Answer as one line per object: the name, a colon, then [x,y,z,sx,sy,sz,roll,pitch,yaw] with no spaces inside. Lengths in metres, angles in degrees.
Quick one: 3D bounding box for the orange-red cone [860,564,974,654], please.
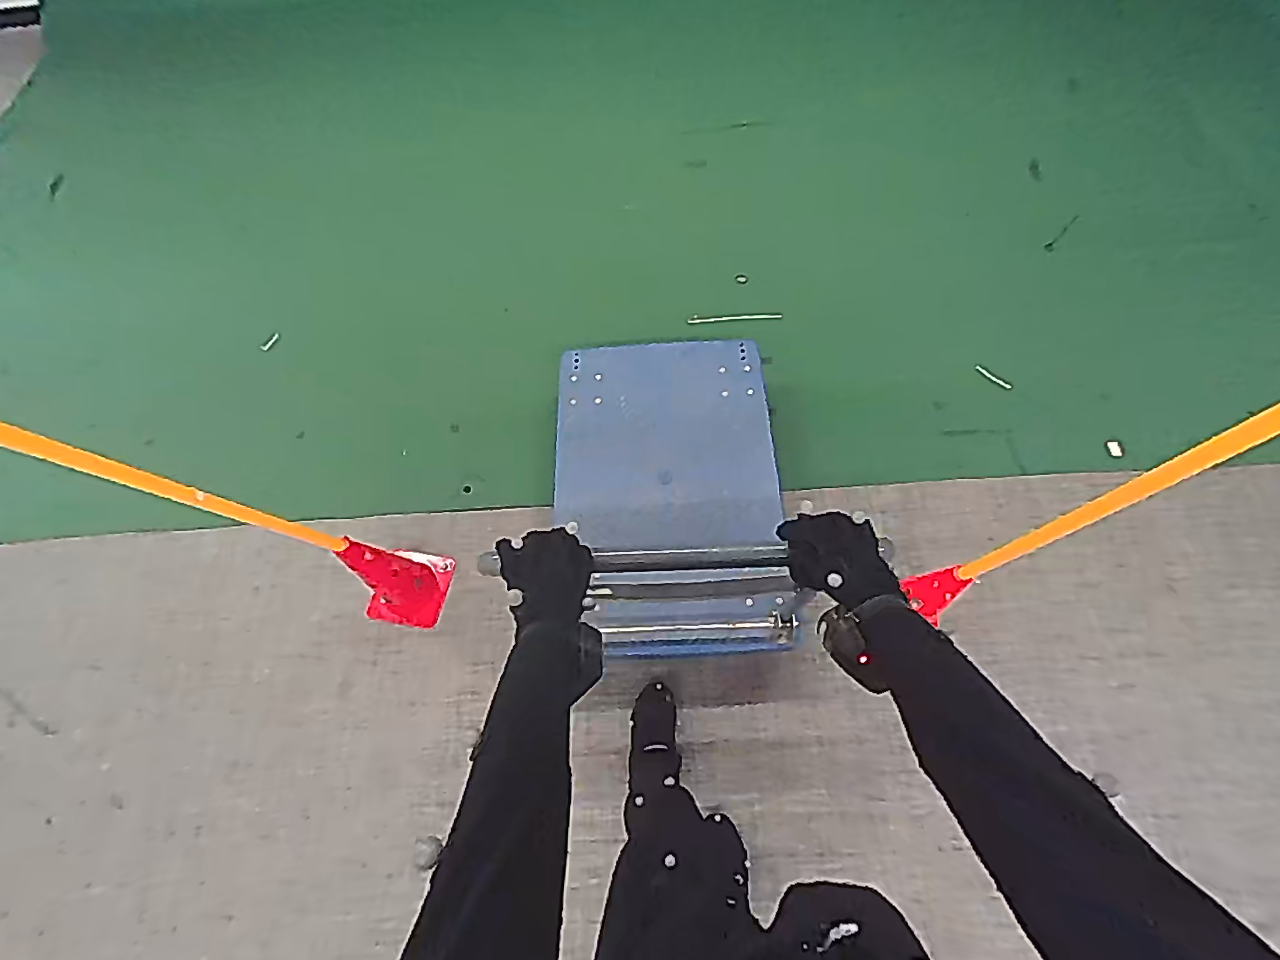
orange-red cone: [0.656,0.262,1.228,0.198,0.360,0.199,6,65,7]
